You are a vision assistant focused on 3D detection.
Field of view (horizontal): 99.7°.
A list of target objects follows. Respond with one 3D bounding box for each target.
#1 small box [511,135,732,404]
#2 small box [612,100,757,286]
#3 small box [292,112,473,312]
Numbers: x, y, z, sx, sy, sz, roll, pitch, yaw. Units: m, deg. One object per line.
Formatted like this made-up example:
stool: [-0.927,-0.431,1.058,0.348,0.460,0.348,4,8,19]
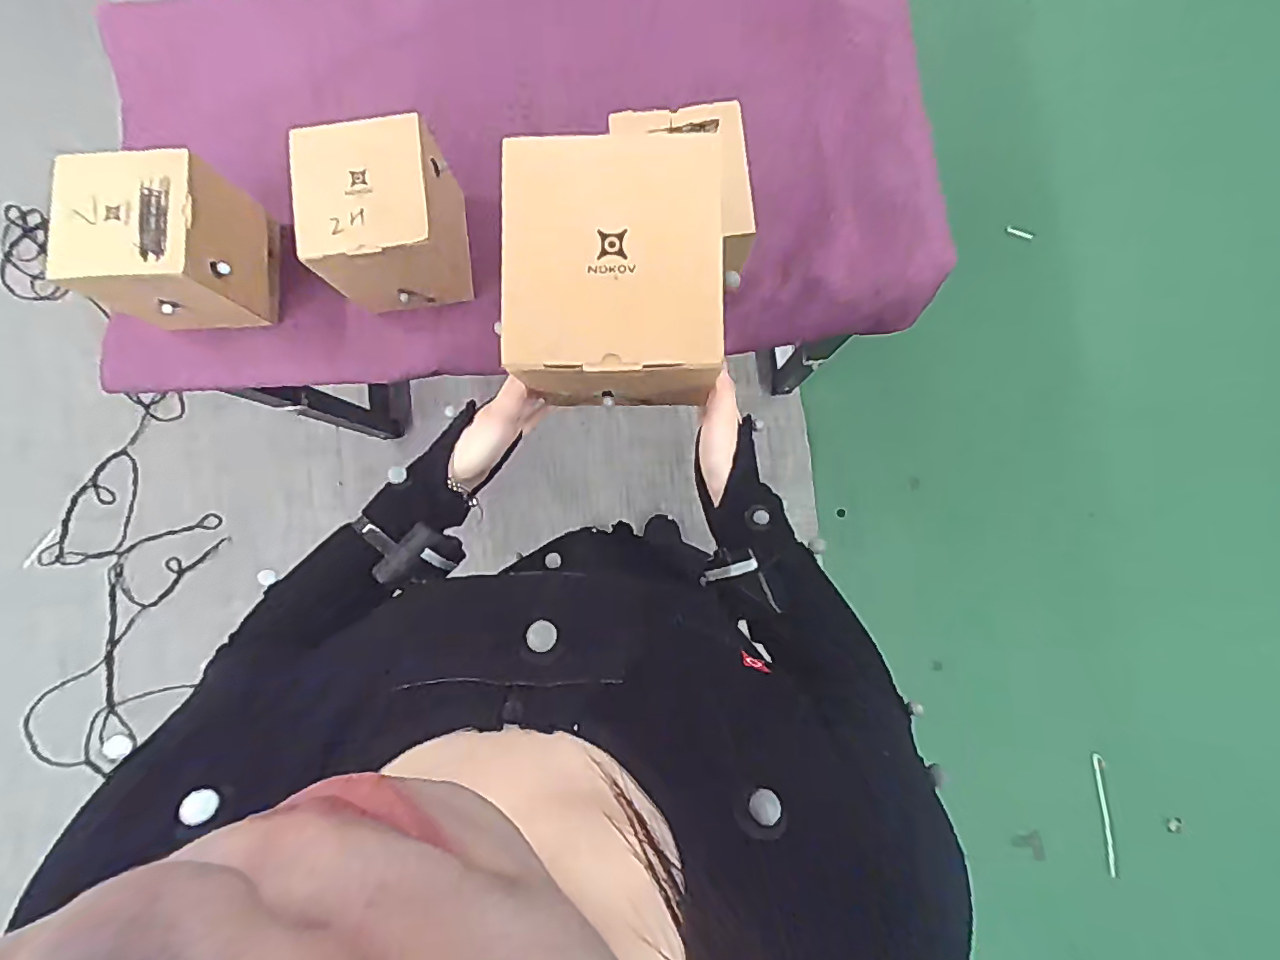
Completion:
small box: [-0.012,-0.168,0.481,0.168,0.176,0.179,0,89,2]
small box: [0.054,-0.370,0.741,0.168,0.176,0.179,-6,86,1]
small box: [-0.342,-0.356,0.744,0.168,0.176,0.179,-8,84,1]
